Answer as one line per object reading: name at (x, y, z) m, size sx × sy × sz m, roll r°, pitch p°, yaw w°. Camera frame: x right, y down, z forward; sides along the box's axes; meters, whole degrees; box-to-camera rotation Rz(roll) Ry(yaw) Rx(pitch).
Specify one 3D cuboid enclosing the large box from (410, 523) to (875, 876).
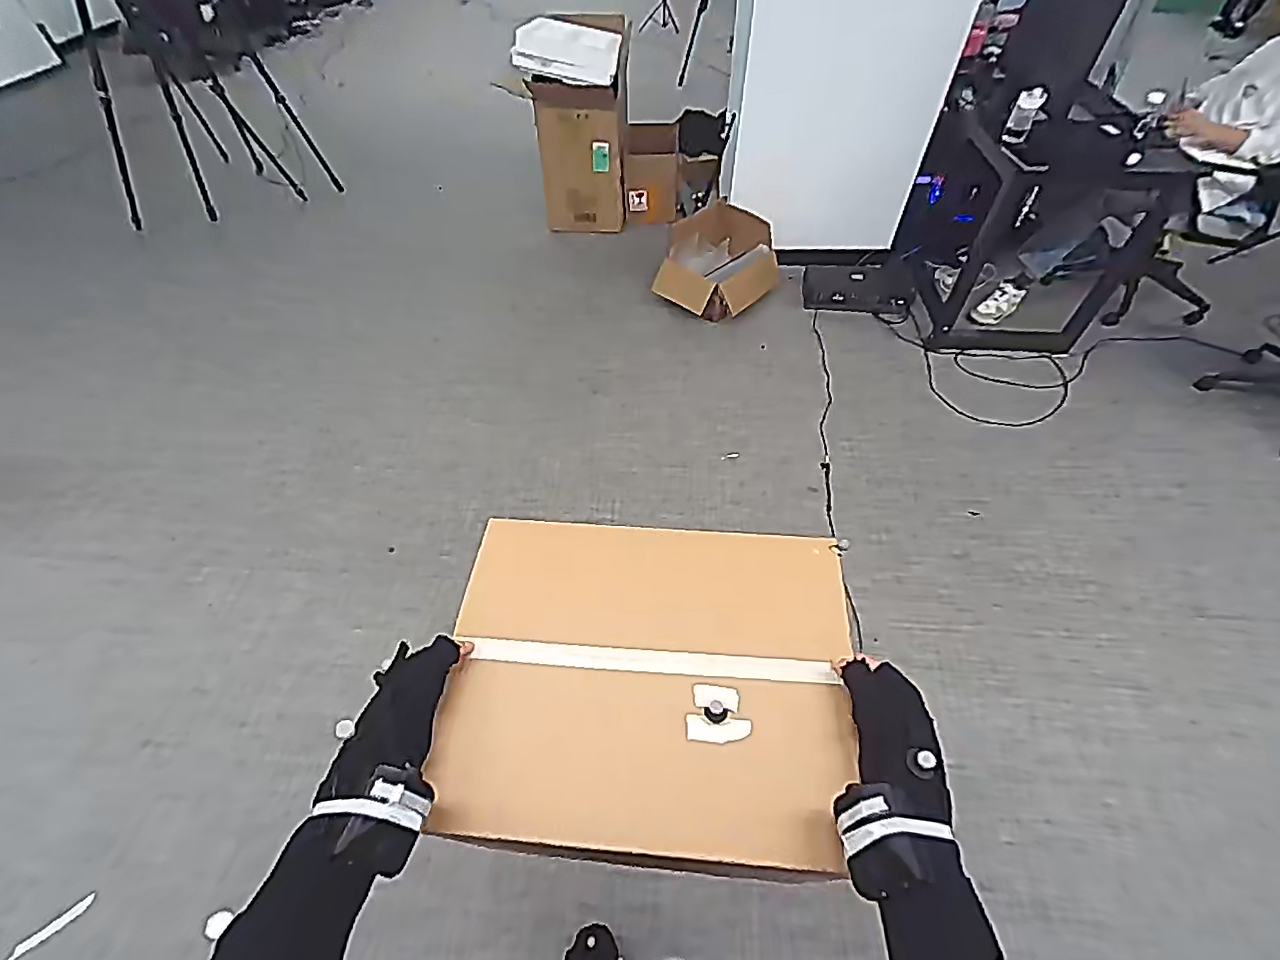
large box at (0.009, 0.273, 0.661) m, size 0.408 × 0.320 × 0.320 m, roll 4°, pitch 53°, yaw 4°
